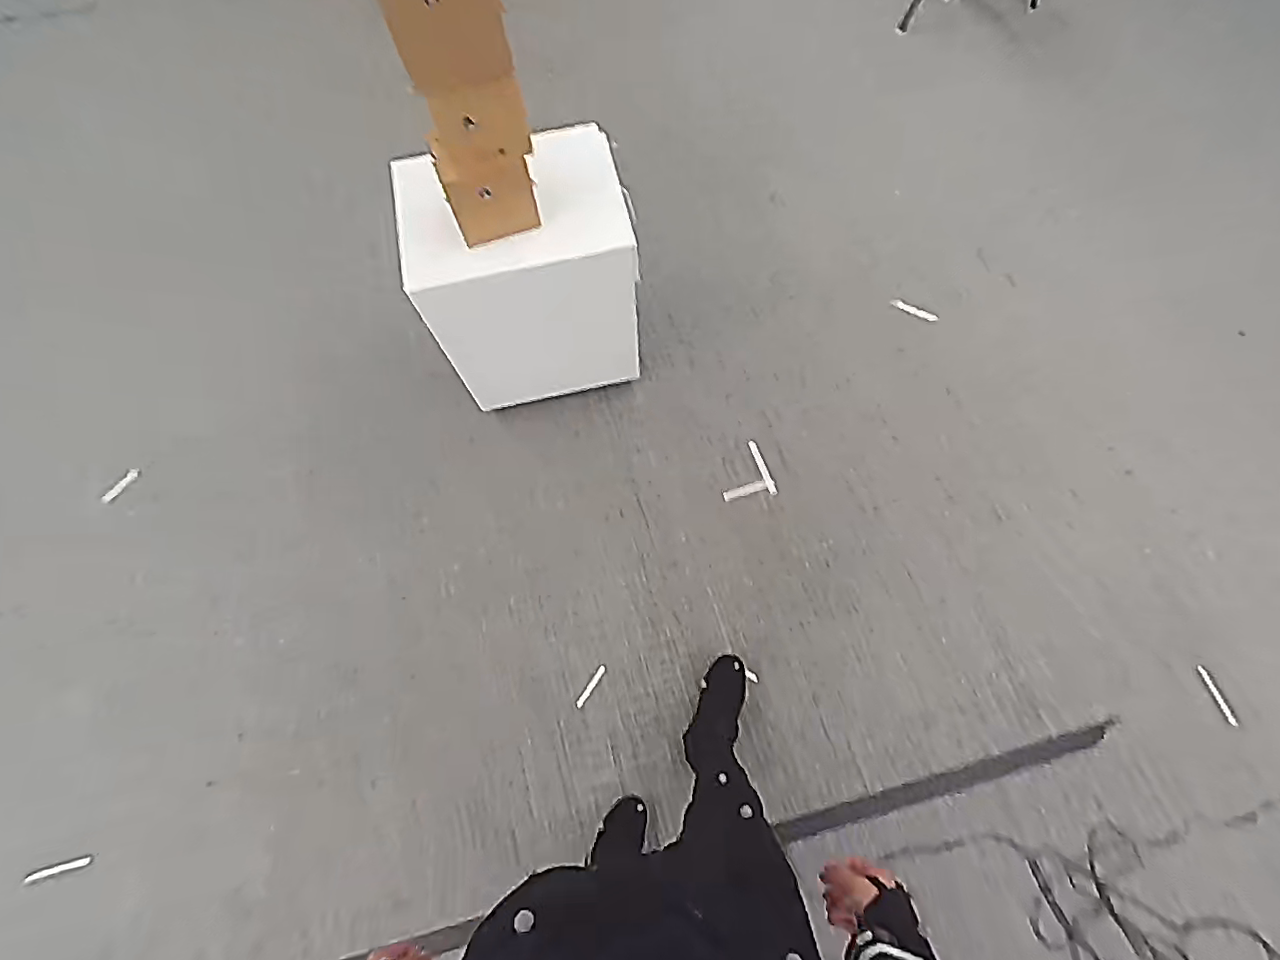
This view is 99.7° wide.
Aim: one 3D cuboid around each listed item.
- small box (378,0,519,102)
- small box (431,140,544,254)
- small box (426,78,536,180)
[{"bbox_3d":[-0.312,-0.753,0.874,0.179,0.176,0.168,-16,69,-5],"label":"small box"},{"bbox_3d":[-0.324,-0.626,1.176,0.179,0.176,0.168,-19,70,-7],"label":"small box"},{"bbox_3d":[-0.309,-0.706,1.033,0.168,0.176,0.179,-18,69,-6],"label":"small box"}]
